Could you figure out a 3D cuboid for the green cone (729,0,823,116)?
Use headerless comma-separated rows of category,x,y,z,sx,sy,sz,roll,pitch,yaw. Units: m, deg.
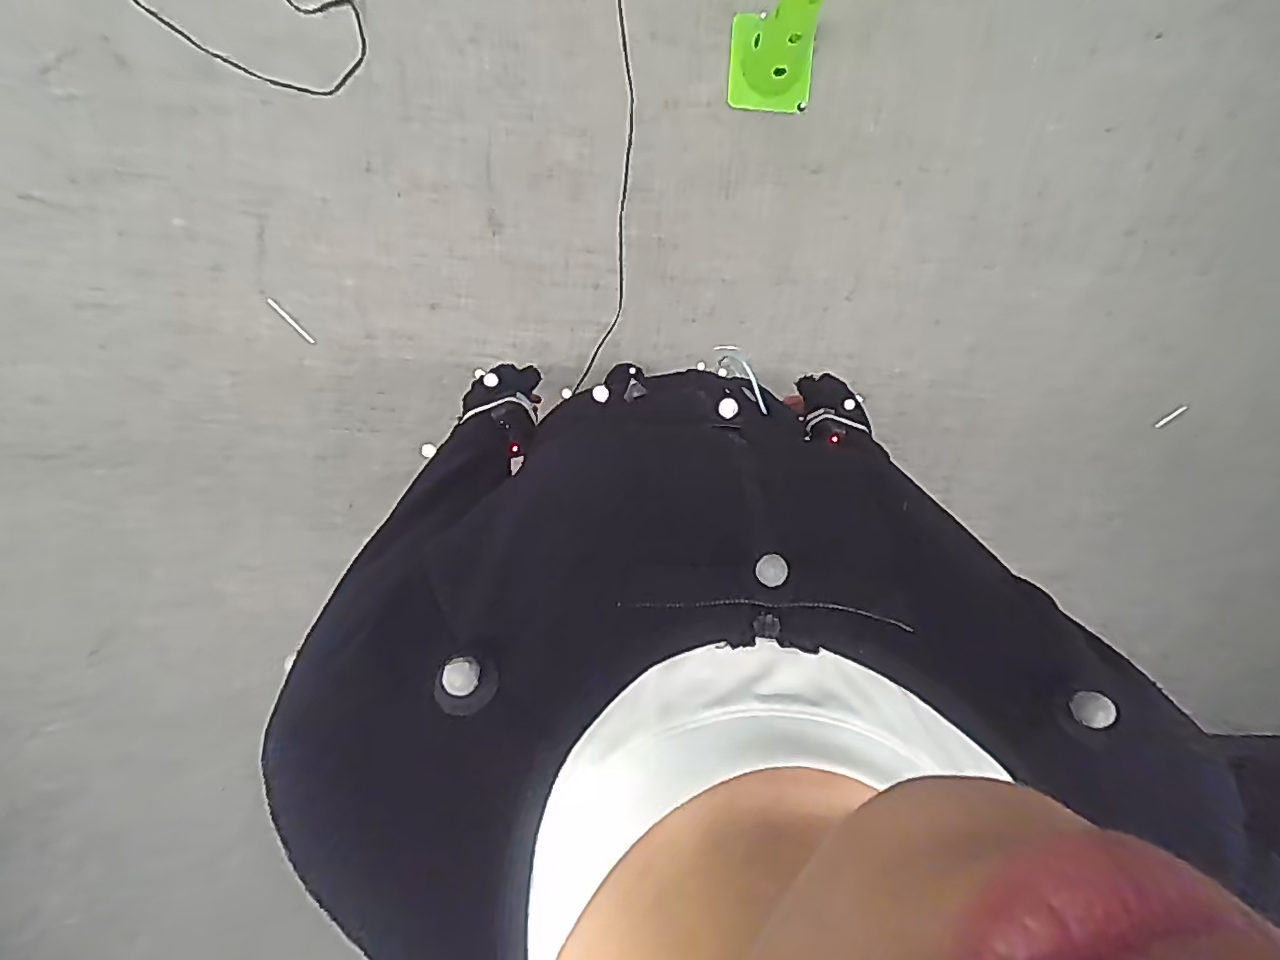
green cone,0.325,-0.962,1.133,0.202,0.368,0.200,2,100,-3
